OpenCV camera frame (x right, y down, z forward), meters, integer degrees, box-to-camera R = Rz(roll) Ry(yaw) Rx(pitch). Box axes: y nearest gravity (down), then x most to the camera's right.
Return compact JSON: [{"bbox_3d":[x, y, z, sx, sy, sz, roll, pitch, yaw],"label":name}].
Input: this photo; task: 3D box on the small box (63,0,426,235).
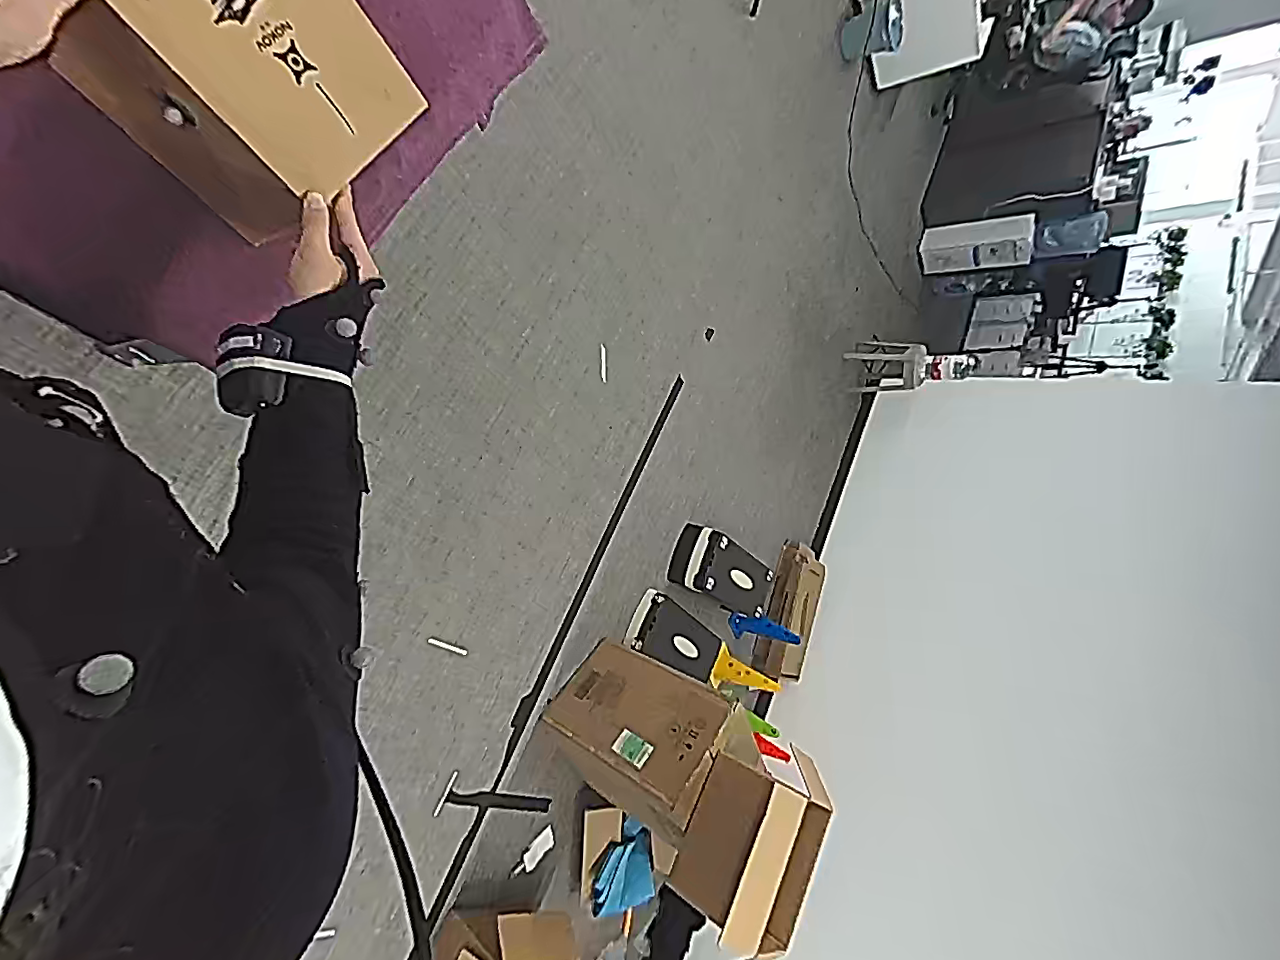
[{"bbox_3d":[-0.337,-0.345,0.471,0.179,0.176,0.168,50,60,-43],"label":"small box"}]
